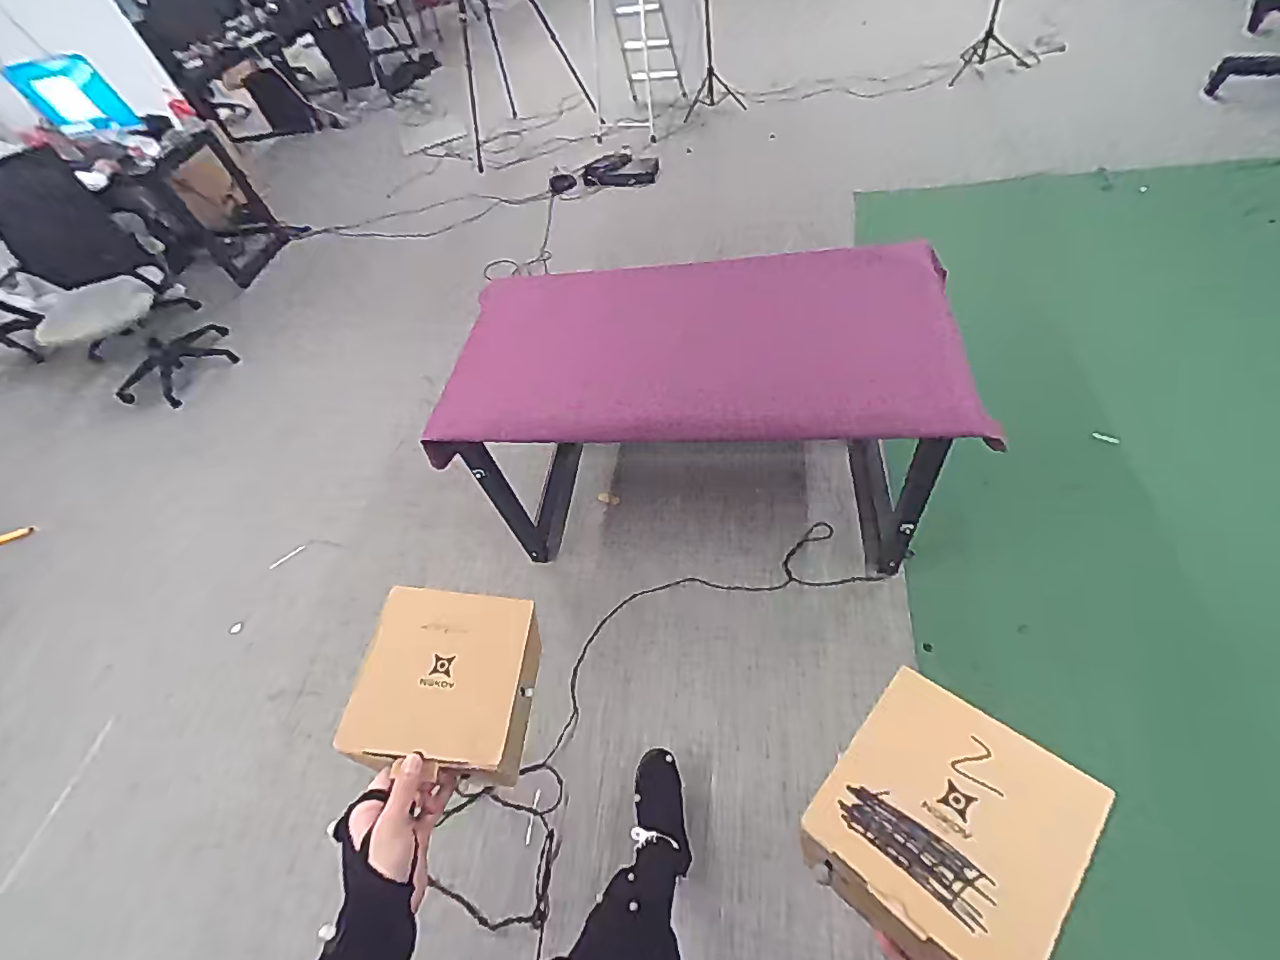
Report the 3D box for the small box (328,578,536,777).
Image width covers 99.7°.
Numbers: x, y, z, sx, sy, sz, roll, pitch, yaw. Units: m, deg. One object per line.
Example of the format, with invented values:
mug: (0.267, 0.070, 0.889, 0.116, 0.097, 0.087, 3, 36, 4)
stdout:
small box: (-0.222, 0.239, 0.639, 0.168, 0.176, 0.179, 8, 54, -1)
